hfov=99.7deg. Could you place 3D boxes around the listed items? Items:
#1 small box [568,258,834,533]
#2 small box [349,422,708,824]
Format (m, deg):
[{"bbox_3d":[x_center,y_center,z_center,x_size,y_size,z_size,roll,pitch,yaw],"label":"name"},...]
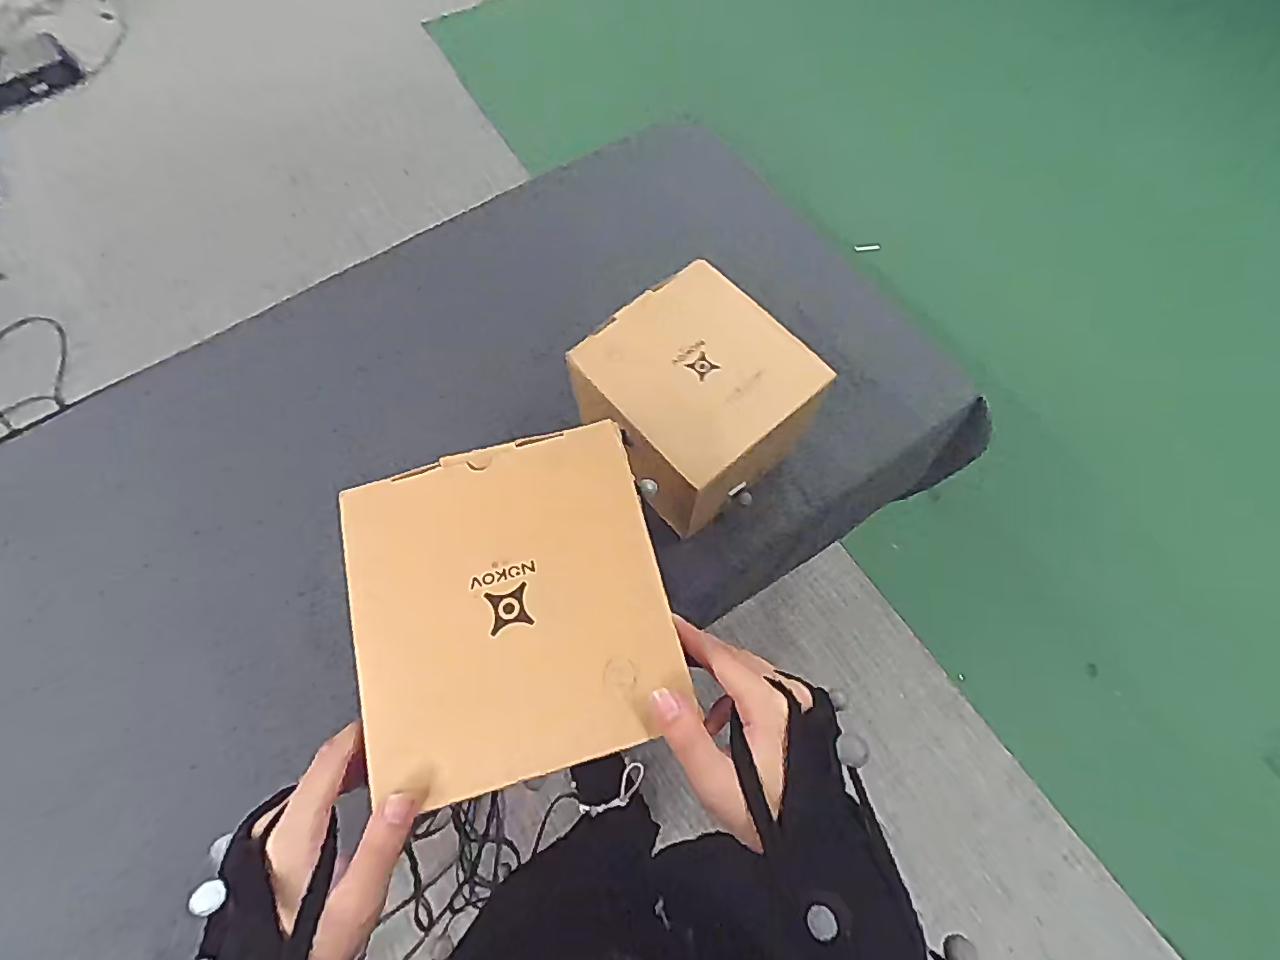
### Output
[{"bbox_3d":[0.052,-0.073,0.543,0.168,0.176,0.179,-39,73,-12],"label":"small box"},{"bbox_3d":[-0.063,0.088,0.361,0.168,0.176,0.179,-15,72,-4],"label":"small box"}]
